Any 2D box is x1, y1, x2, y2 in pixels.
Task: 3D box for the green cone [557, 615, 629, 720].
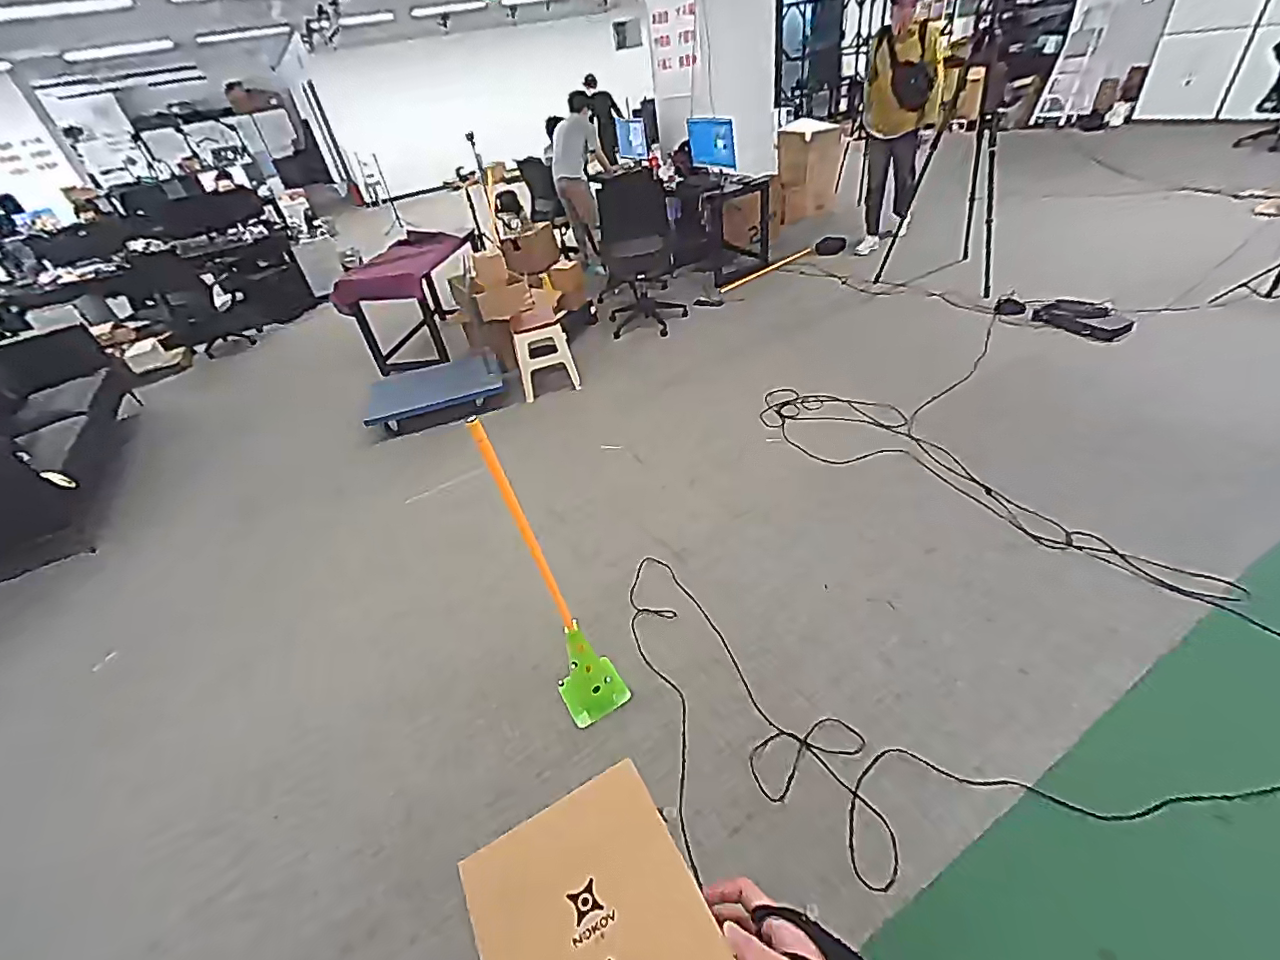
[{"bbox_3d":[-0.182,0.569,1.747,0.202,0.368,0.200,-25,41,-20],"label":"green cone"}]
